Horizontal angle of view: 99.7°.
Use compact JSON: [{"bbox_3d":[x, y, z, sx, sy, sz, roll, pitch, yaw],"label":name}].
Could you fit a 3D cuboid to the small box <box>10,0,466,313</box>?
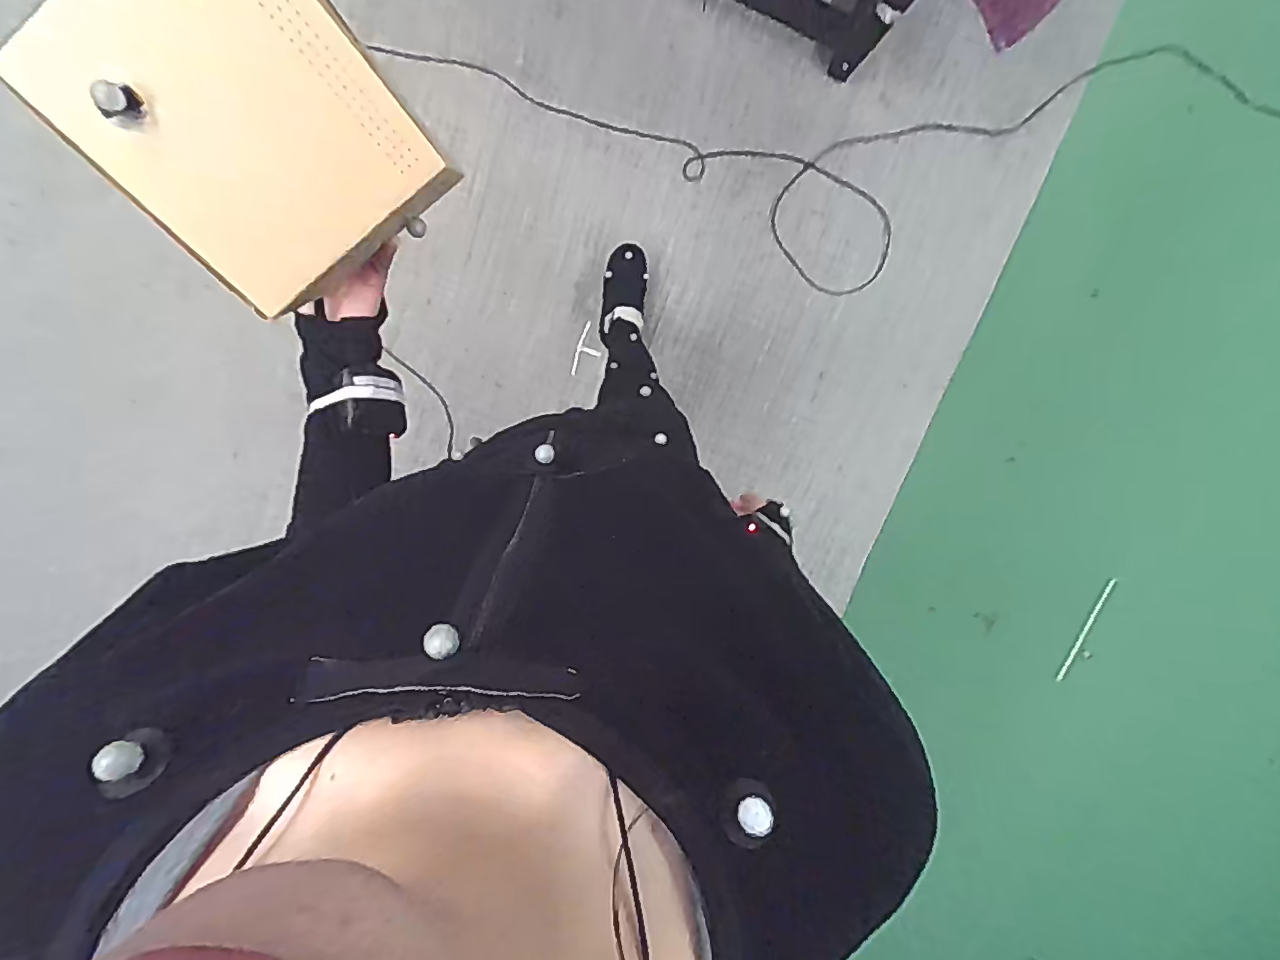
[{"bbox_3d":[-0.255,-0.259,0.400,0.176,0.168,0.179,-37,119,7],"label":"small box"}]
